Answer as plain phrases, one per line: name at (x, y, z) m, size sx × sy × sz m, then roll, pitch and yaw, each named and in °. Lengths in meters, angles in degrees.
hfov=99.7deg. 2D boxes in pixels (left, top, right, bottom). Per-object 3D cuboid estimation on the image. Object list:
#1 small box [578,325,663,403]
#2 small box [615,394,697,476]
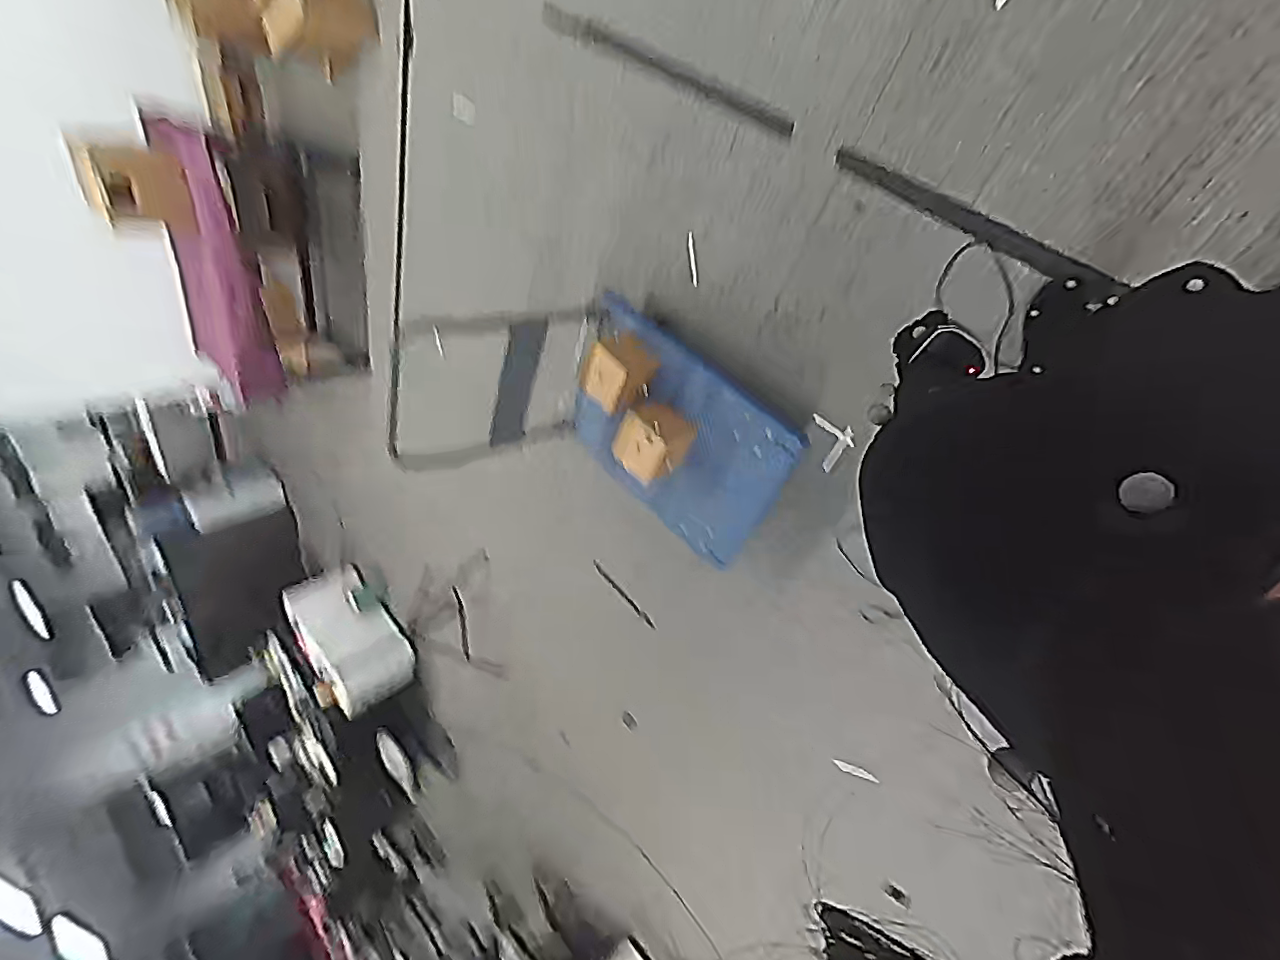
small box at (-0.061, -0.375, 1.718) m, size 0.179 × 0.176 × 0.168 m, roll 45°, pitch 135°, yaw 17°
small box at (0.053, -0.146, 1.712) m, size 0.168 × 0.176 × 0.179 m, roll 43°, pitch 133°, yaw 19°
